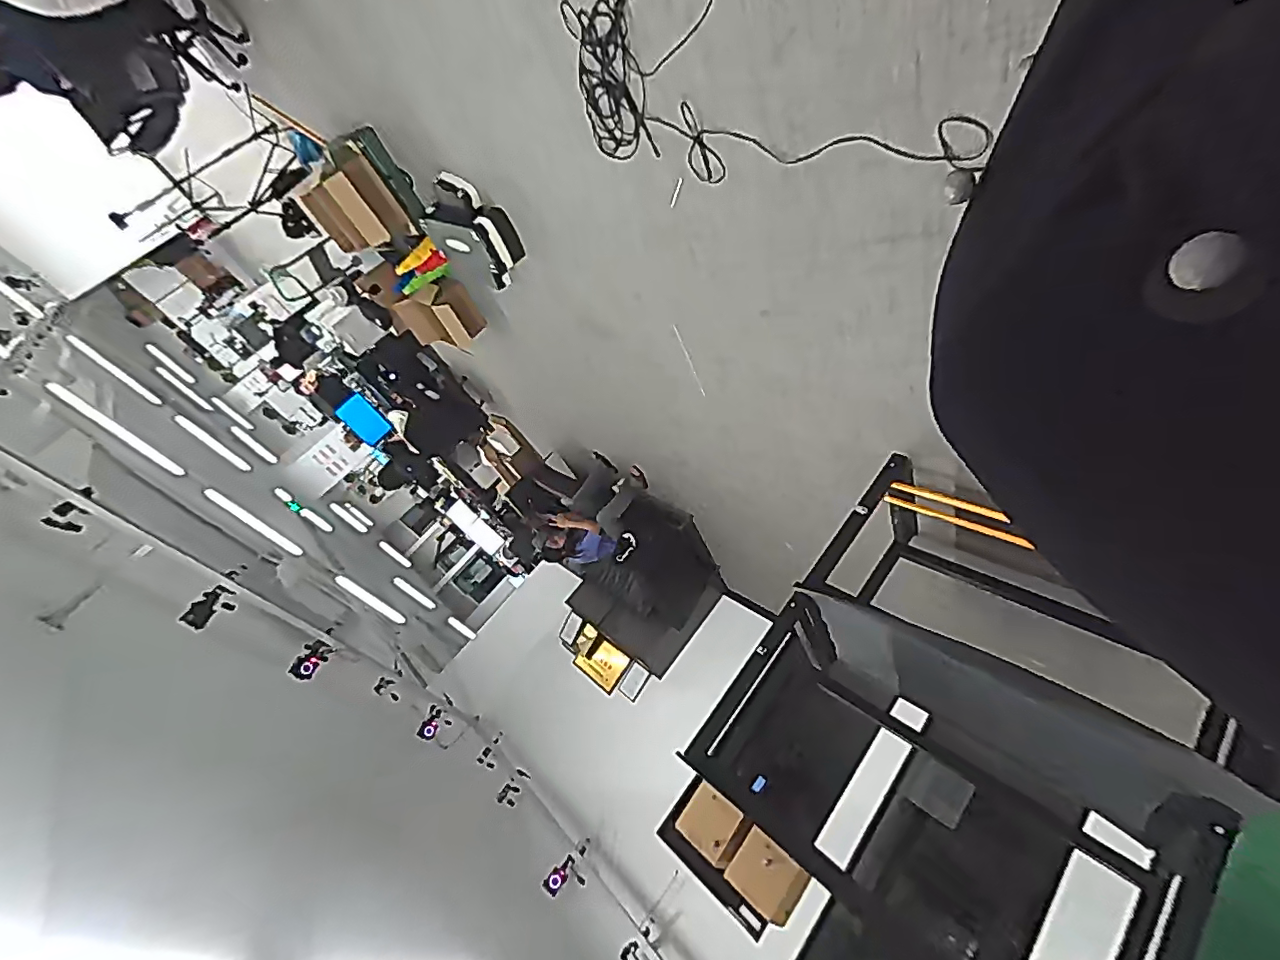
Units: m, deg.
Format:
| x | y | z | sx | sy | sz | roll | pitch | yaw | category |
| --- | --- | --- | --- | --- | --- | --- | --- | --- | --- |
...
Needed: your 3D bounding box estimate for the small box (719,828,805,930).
| x | y | z | sx | sy | sz | roll | pitch | yaw | category |
| --- | --- | --- | --- | --- | --- | --- | --- | --- | --- |
| 0.370 | 1.183 | 1.609 | 0.168 | 0.176 | 0.179 | 23 | 154 | 44 | small box |
